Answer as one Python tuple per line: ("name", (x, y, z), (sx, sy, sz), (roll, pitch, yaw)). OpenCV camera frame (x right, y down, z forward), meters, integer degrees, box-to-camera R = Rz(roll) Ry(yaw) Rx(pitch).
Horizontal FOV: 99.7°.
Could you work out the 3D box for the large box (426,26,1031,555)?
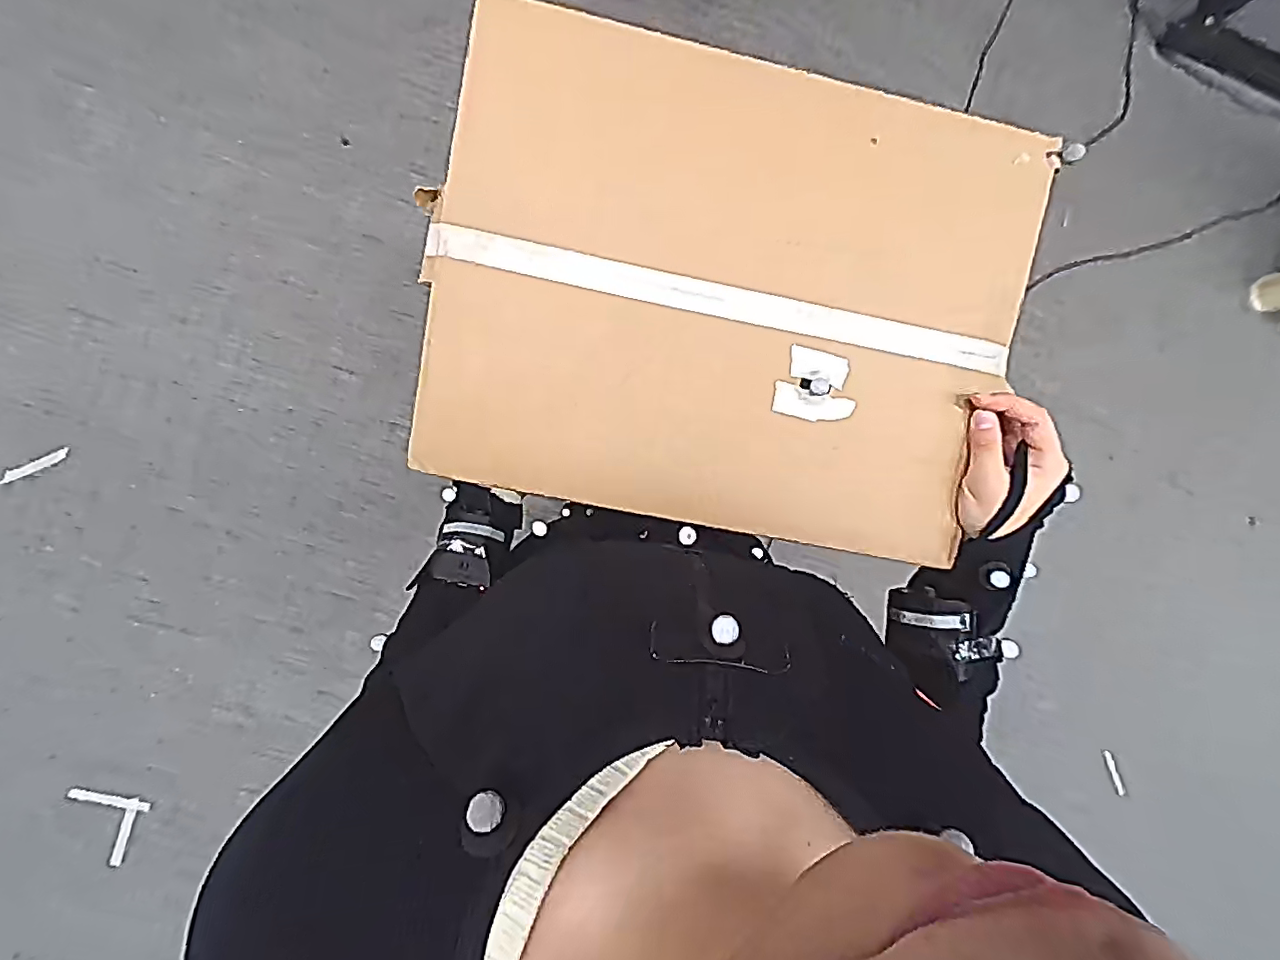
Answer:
("large box", (0.052, -0.135, 0.532), (0.408, 0.320, 0.320), (10, 96, -6))
